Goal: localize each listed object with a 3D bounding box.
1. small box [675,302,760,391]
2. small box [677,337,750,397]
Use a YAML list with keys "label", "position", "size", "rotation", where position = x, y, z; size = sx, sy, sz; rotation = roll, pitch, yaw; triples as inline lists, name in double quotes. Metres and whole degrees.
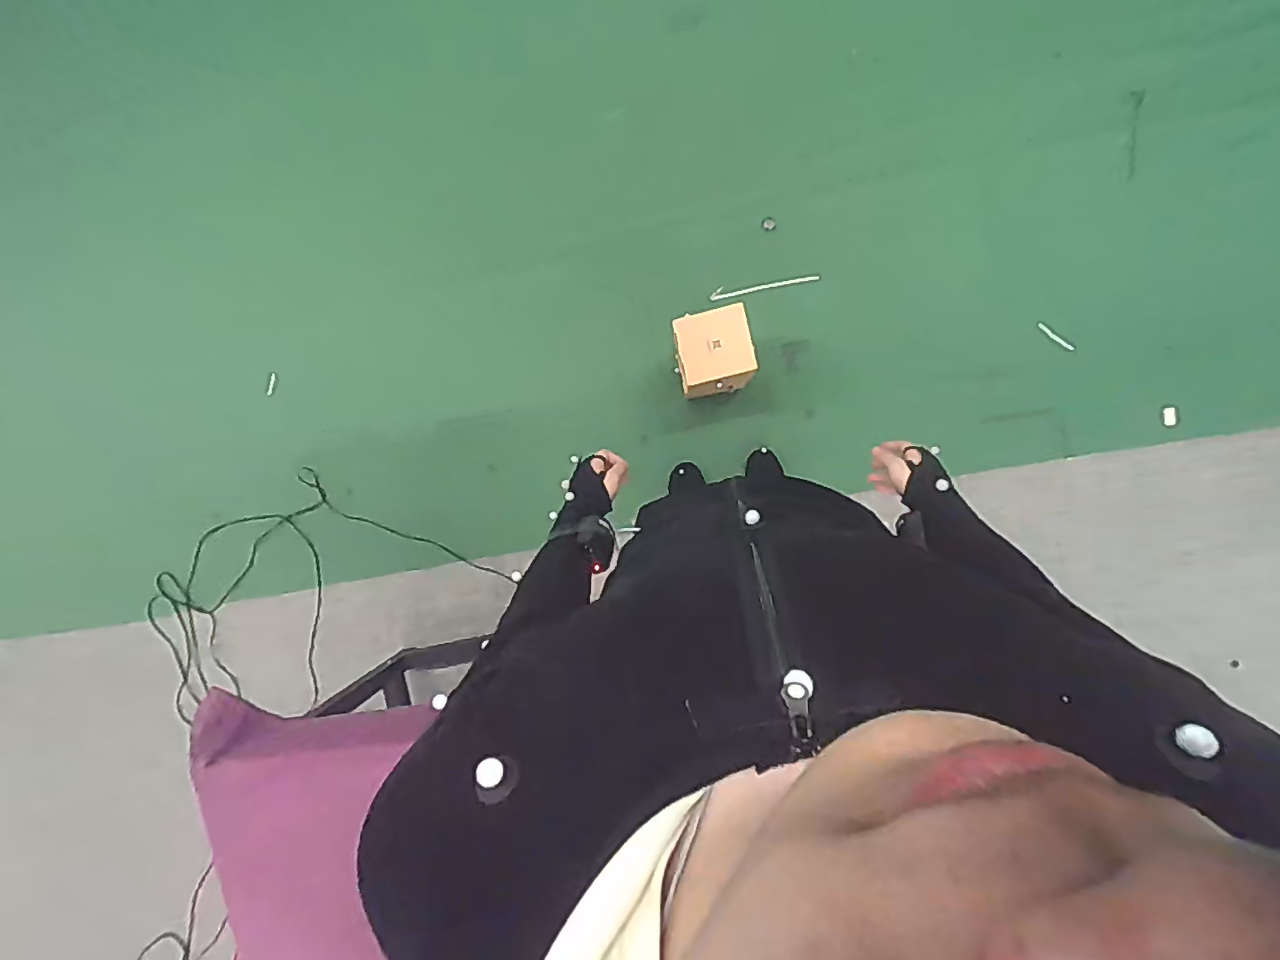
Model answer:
- label: "small box"
  position: [0.193, -0.331, 1.369]
  size: [0.179, 0.176, 0.168]
  rotation: [-13, 92, 9]
- label: "small box"
  position: [0.205, -0.336, 1.532]
  size: [0.179, 0.176, 0.168]
  rotation: [-10, 92, 7]
